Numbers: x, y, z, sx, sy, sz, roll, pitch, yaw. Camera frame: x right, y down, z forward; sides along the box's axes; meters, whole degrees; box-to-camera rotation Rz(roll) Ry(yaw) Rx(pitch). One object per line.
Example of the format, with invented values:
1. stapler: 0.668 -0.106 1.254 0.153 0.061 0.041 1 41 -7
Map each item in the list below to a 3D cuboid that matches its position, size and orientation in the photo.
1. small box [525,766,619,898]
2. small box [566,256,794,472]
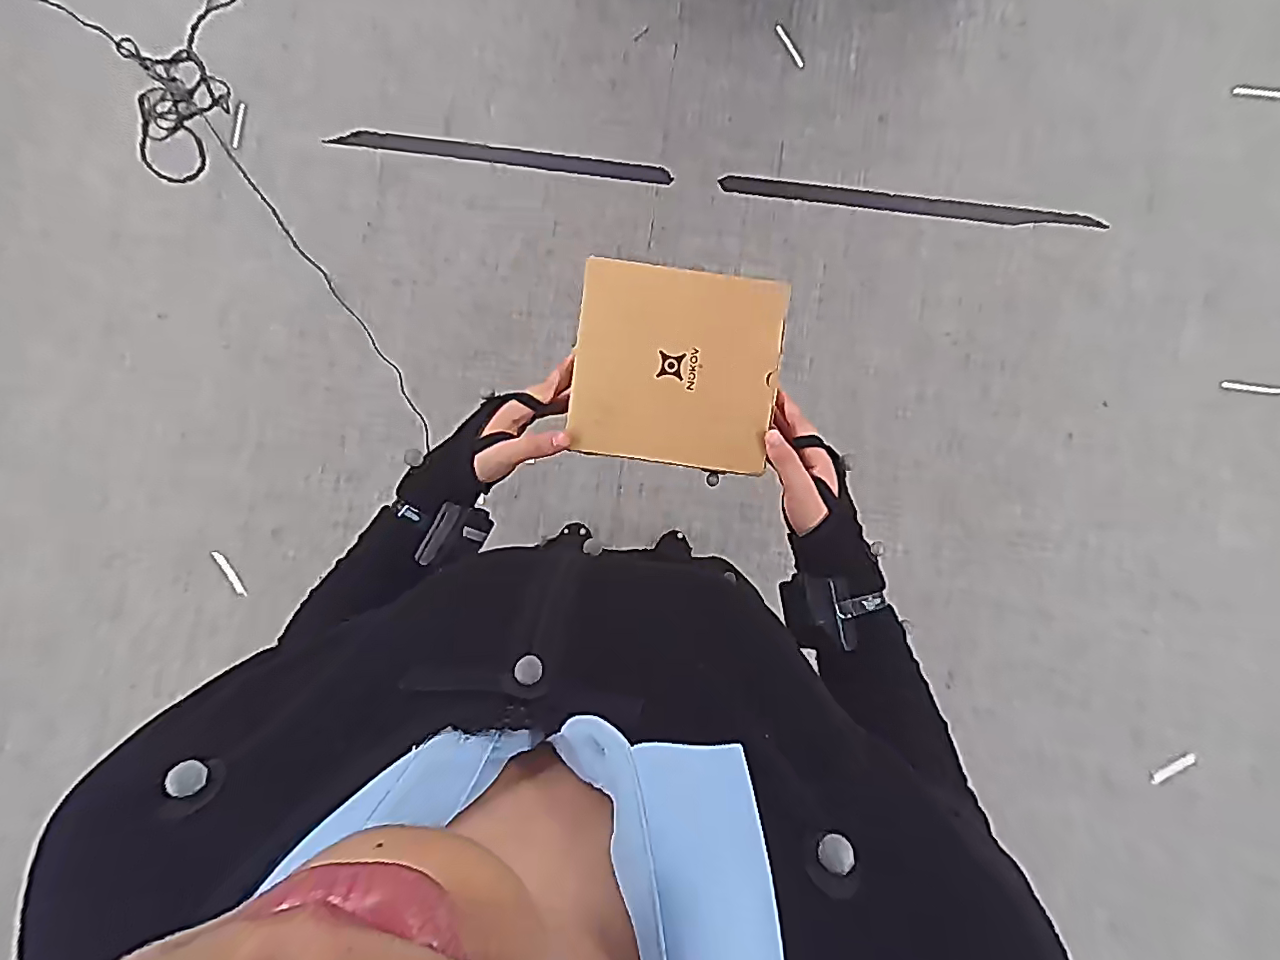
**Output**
1. small box: -0.145 0.785 1.227 0.168 0.176 0.179 12 89 4
2. small box: 0.033 -0.099 0.535 0.179 0.176 0.168 8 92 -1
